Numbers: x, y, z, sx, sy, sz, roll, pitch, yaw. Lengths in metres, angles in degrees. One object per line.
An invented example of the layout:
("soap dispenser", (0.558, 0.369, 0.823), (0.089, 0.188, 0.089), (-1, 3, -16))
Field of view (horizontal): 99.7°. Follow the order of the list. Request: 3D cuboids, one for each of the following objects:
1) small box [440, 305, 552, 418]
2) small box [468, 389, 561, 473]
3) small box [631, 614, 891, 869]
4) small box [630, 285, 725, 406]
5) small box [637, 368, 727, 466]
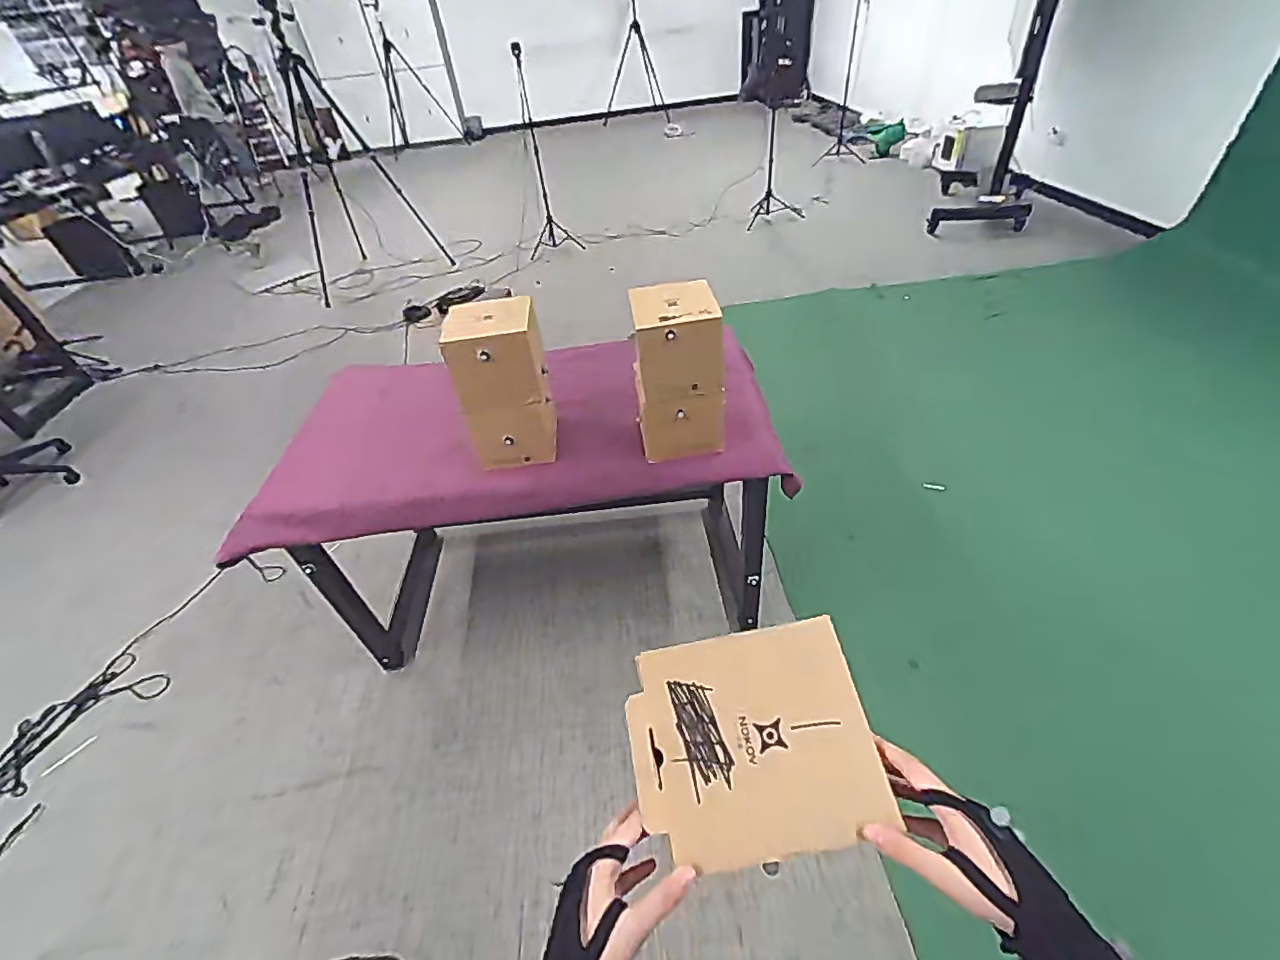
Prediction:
("small box", (-0.296, -0.247, 1.149), (0.179, 0.176, 0.168), (-8, 42, 1))
("small box", (-0.282, -0.130, 1.261), (0.168, 0.176, 0.179), (-8, 41, 1))
("small box", (0.098, 0.244, 0.508), (0.179, 0.176, 0.168), (-12, 61, 0))
("small box", (0.077, -0.275, 1.113), (0.168, 0.176, 0.179), (-10, 42, 2))
("small box", (0.095, -0.153, 1.222), (0.179, 0.176, 0.168), (-10, 43, 1))
